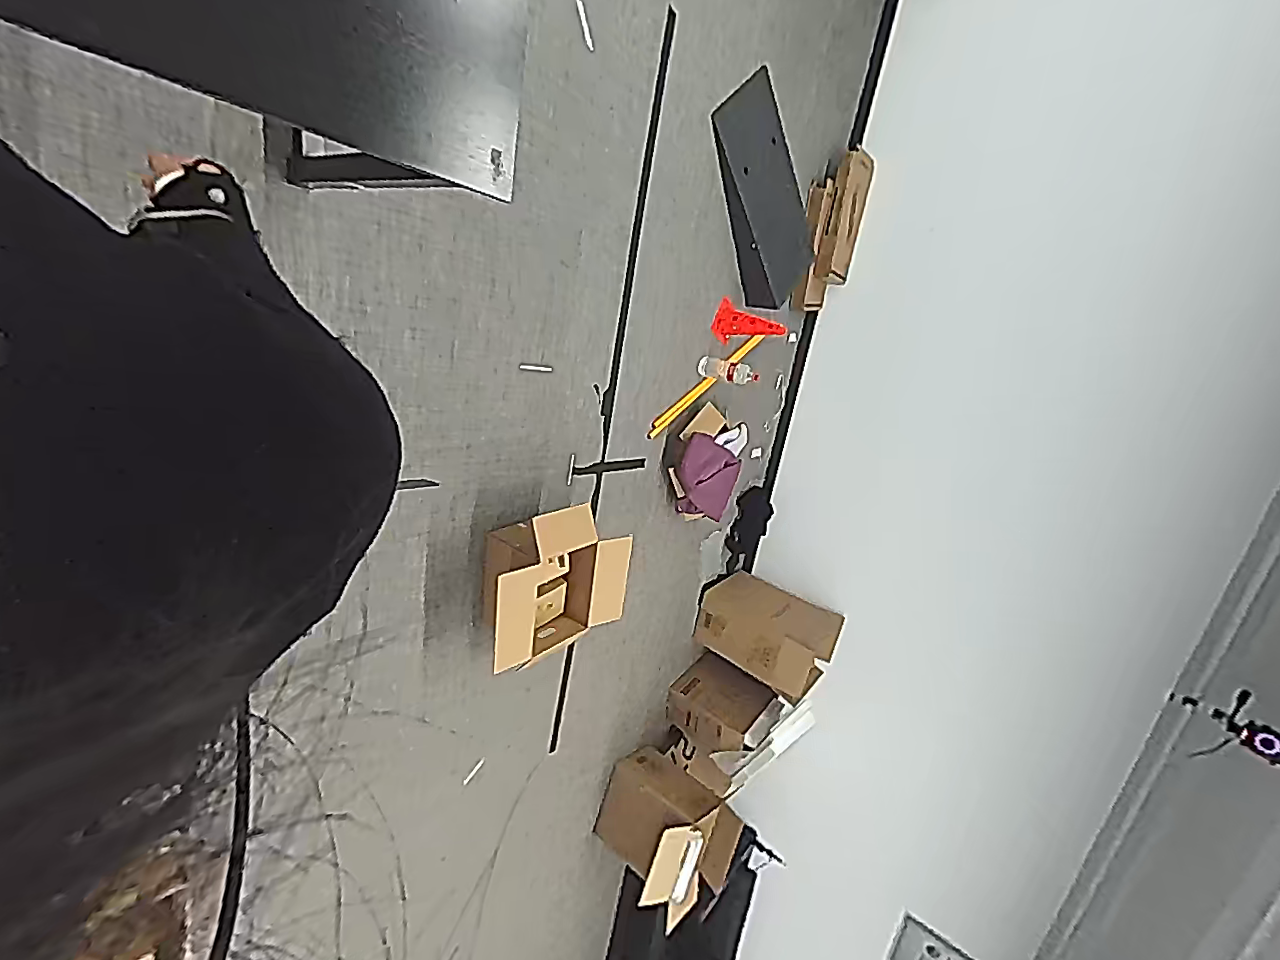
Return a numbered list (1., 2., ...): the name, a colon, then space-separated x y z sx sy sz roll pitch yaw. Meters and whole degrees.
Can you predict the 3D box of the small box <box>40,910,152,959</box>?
1. small box: -1.324 1.215 1.315 0.179 0.176 0.168 -6 110 -52
